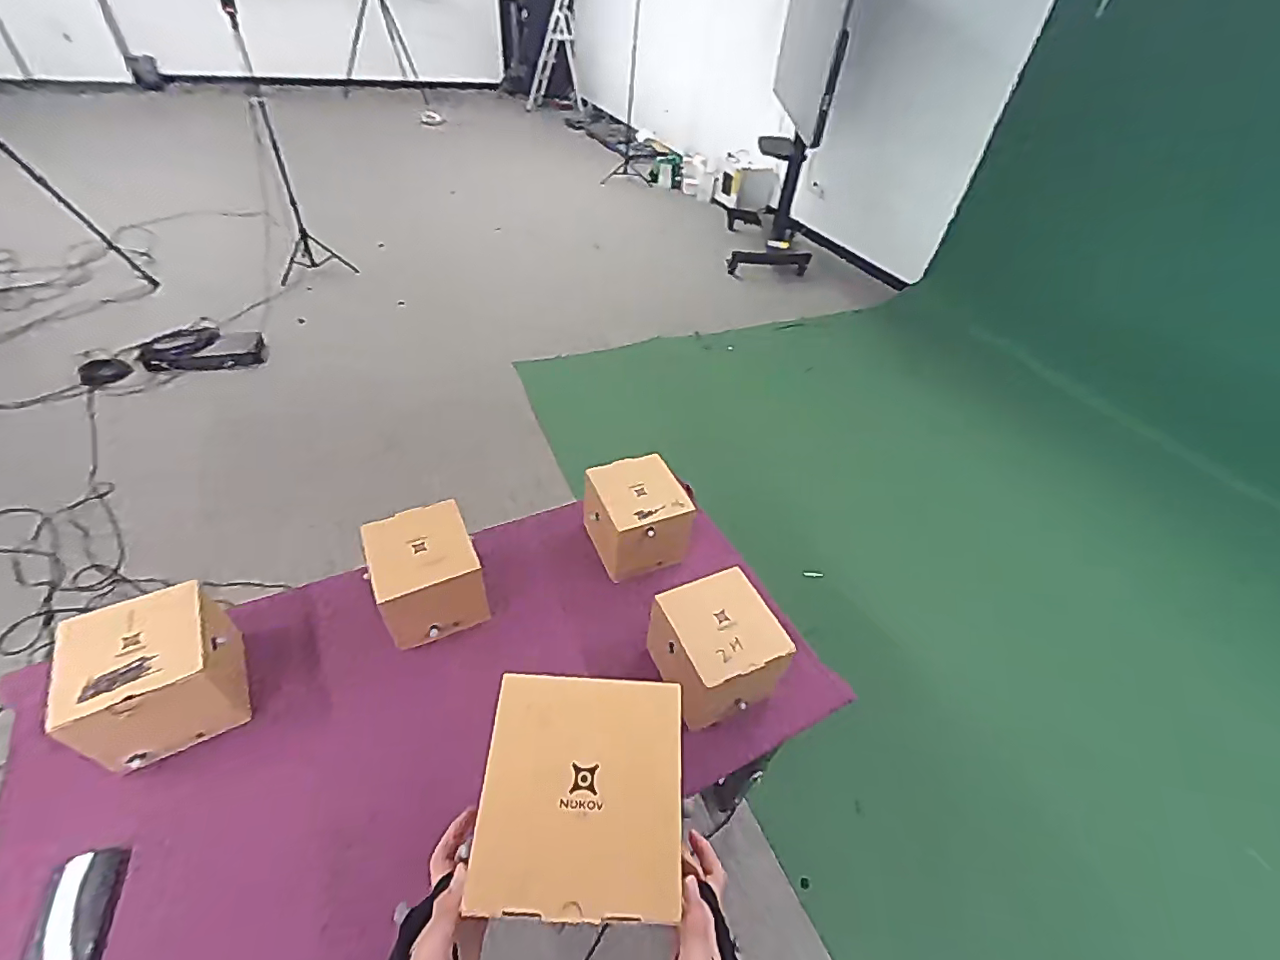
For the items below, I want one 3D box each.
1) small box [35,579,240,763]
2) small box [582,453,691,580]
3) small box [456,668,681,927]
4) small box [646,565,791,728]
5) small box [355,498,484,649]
[{"bbox_3d":[-0.718,0.285,0.795,0.168,0.176,0.179,-19,49,-26],"label":"small box"},{"bbox_3d":[-0.017,0.074,1.112,0.168,0.176,0.179,-15,48,-21],"label":"small box"},{"bbox_3d":[-0.055,0.293,0.503,0.168,0.176,0.179,5,54,-2],"label":"small box"},{"bbox_3d":[0.119,0.279,0.911,0.168,0.176,0.179,-15,48,-20],"label":"small box"},{"bbox_3d":[-0.389,0.167,0.966,0.168,0.176,0.179,-17,50,-23],"label":"small box"}]
